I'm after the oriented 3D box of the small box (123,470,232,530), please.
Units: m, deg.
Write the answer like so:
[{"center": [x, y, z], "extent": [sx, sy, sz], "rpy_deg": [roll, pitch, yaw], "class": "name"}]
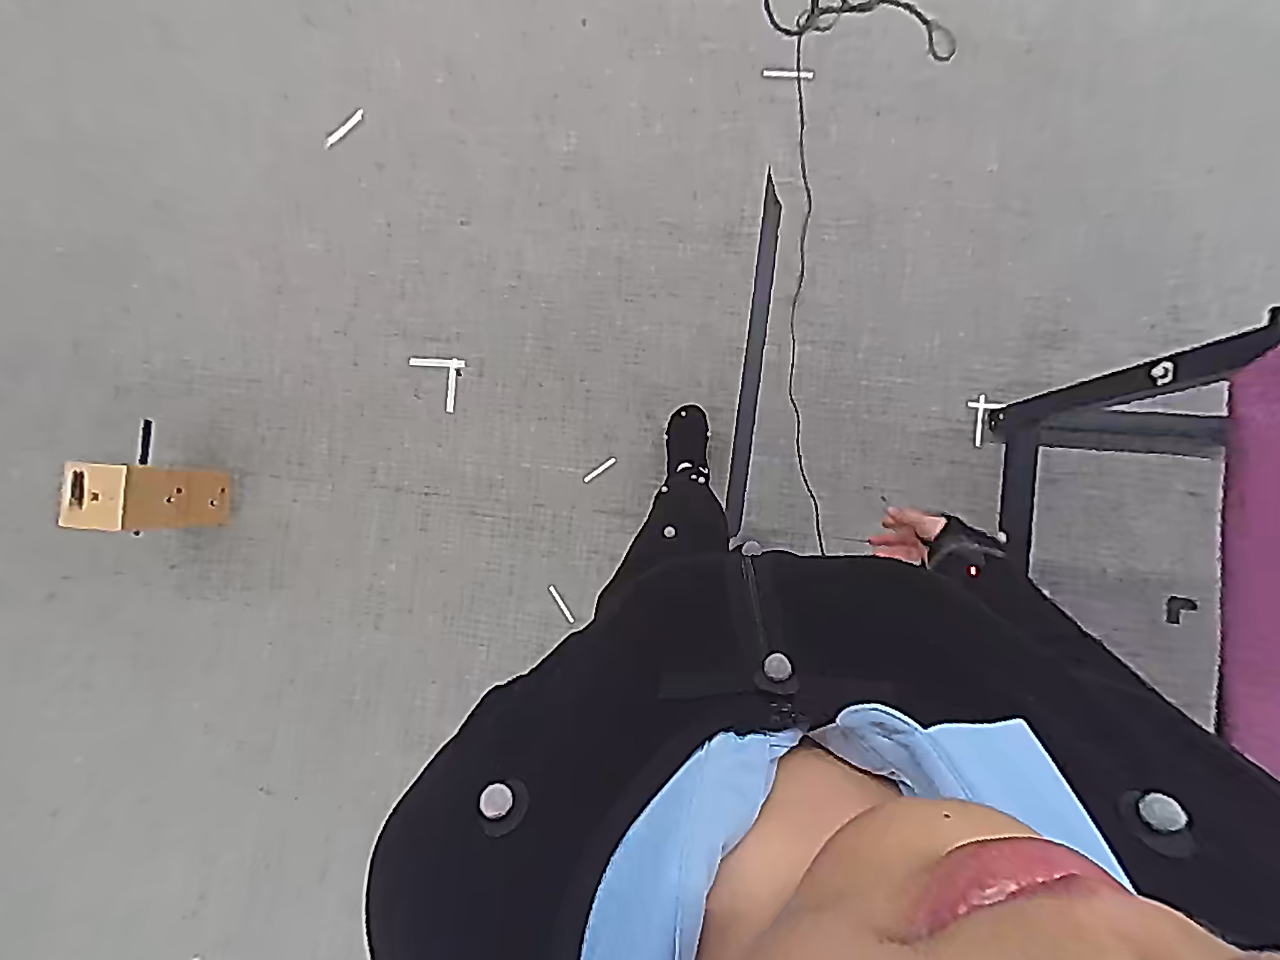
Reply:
[{"center": [-1.352, 0.060, 1.587], "extent": [0.179, 0.176, 0.168], "rpy_deg": [1, 89, 6], "class": "small box"}]
